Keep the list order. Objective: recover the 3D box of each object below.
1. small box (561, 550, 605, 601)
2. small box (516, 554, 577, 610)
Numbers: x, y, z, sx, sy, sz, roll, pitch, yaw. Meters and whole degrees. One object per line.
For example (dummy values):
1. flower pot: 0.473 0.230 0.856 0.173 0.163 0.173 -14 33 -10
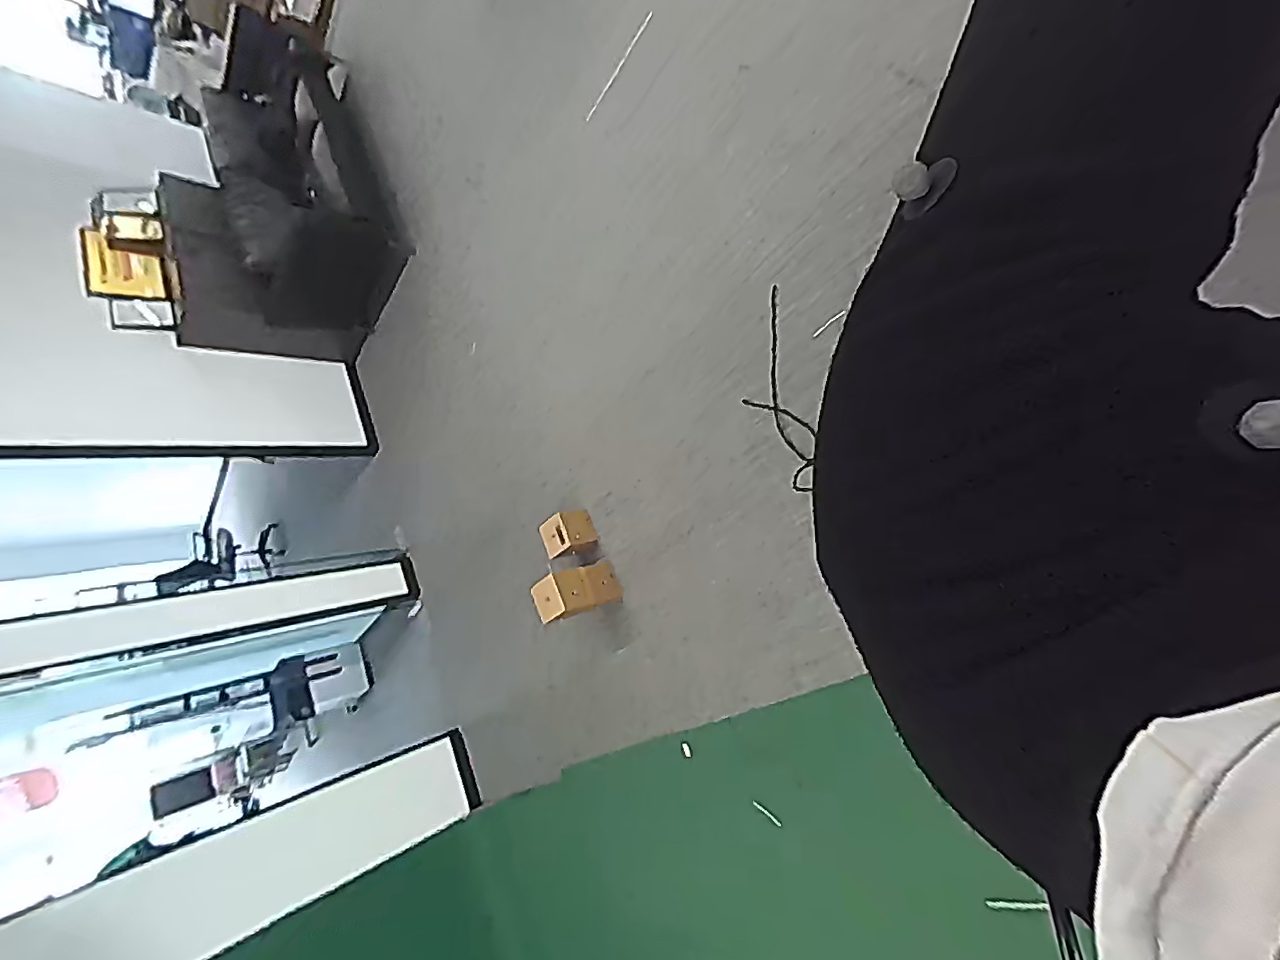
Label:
1. small box: -0.279 0.422 2.410 0.179 0.176 0.168 -35 70 38
2. small box: -0.388 0.429 2.290 0.179 0.176 0.168 -38 69 37
